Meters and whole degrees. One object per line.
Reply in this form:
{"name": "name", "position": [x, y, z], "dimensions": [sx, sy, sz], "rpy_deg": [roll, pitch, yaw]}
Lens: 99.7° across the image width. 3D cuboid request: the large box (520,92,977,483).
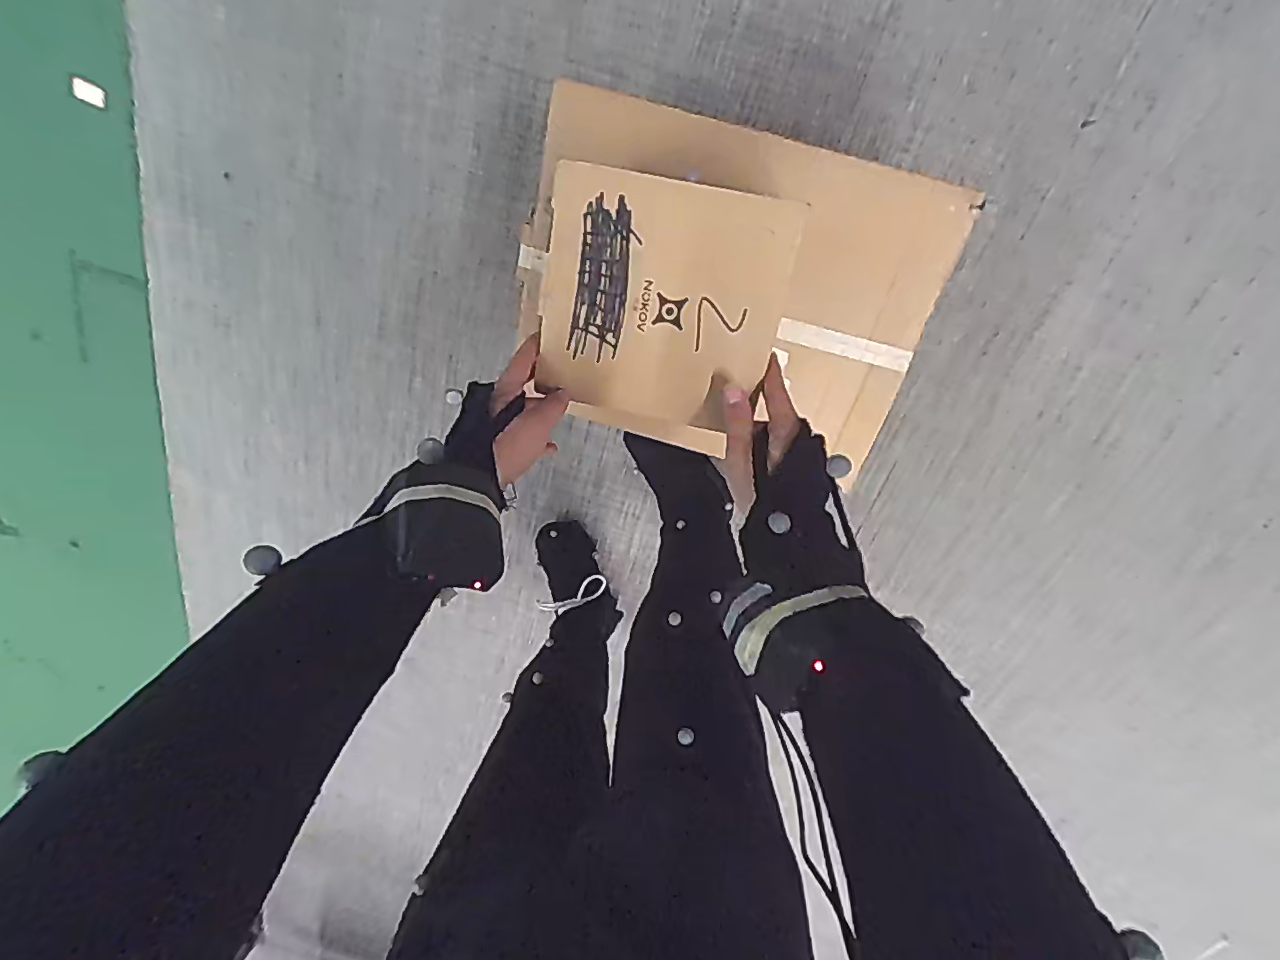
{"name": "large box", "position": [0.101, -0.237, 0.692], "dimensions": [0.408, 0.320, 0.320], "rpy_deg": [16, 115, 1]}
